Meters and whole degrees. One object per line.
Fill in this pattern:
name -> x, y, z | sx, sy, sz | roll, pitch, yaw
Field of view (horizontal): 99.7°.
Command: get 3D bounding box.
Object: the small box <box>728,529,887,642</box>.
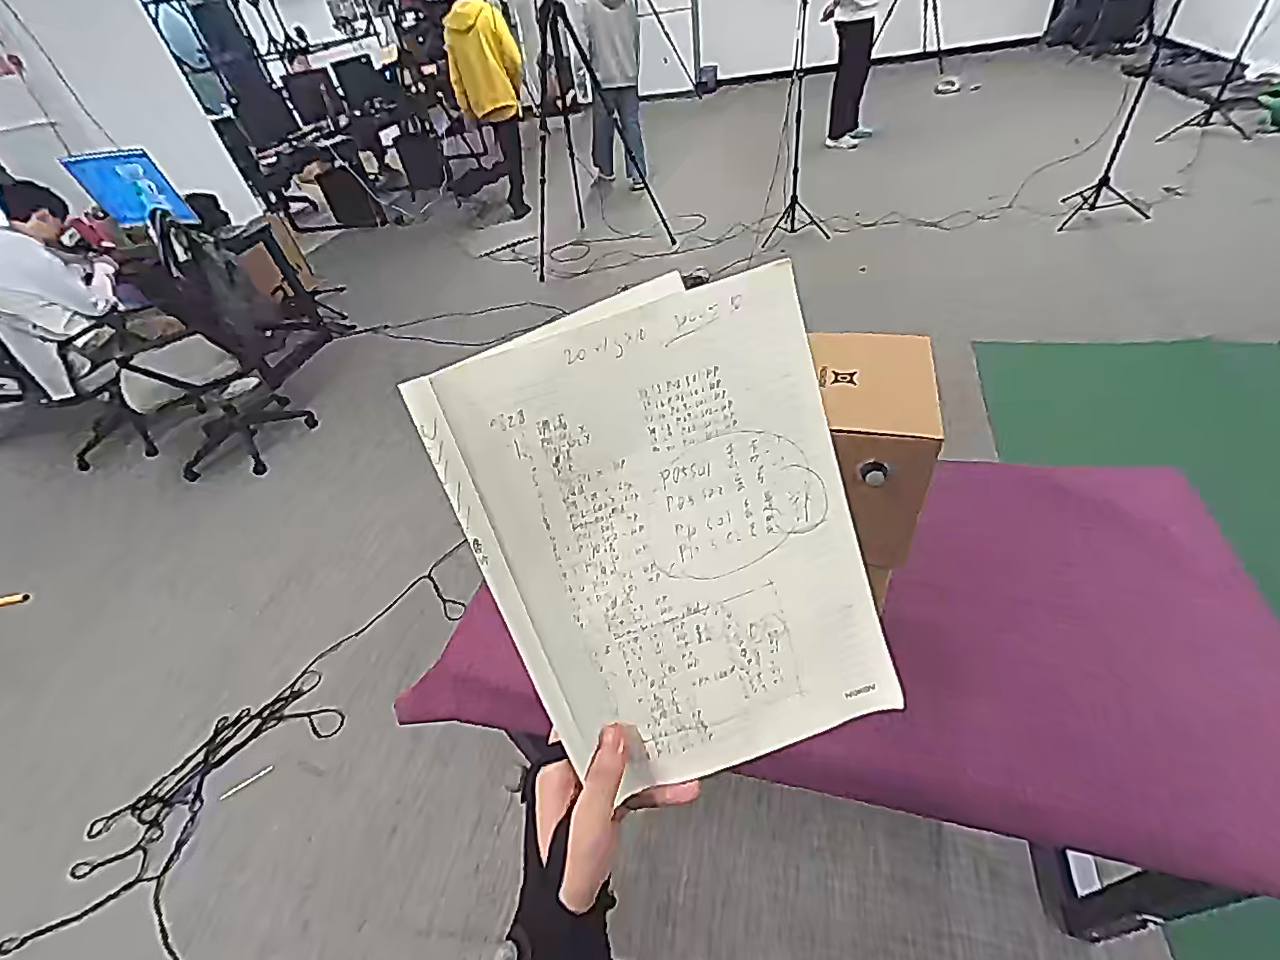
small box -> 0.209, 0.080, 0.682 | 0.168, 0.176, 0.179 | 5, 44, 16

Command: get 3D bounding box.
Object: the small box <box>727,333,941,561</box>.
small box -> 0.194, -0.035, 0.564 | 0.179, 0.176, 0.168 | 6, 44, 18
